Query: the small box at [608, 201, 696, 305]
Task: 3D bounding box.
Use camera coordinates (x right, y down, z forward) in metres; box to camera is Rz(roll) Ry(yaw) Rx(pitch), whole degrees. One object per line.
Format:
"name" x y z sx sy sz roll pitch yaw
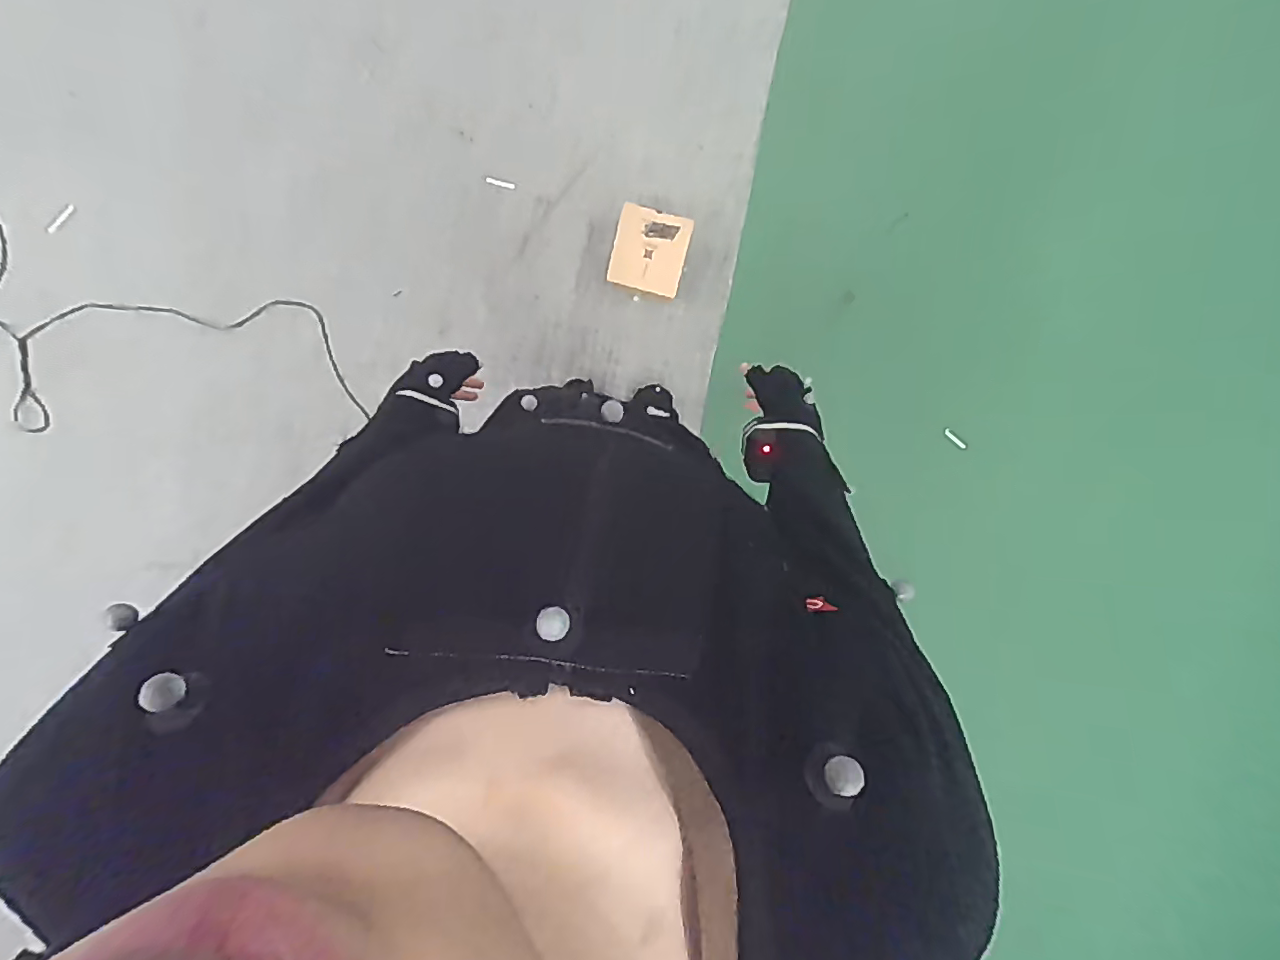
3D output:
"small box" 0.024 -0.532 1.291 0.168 0.176 0.179 14 102 -3
